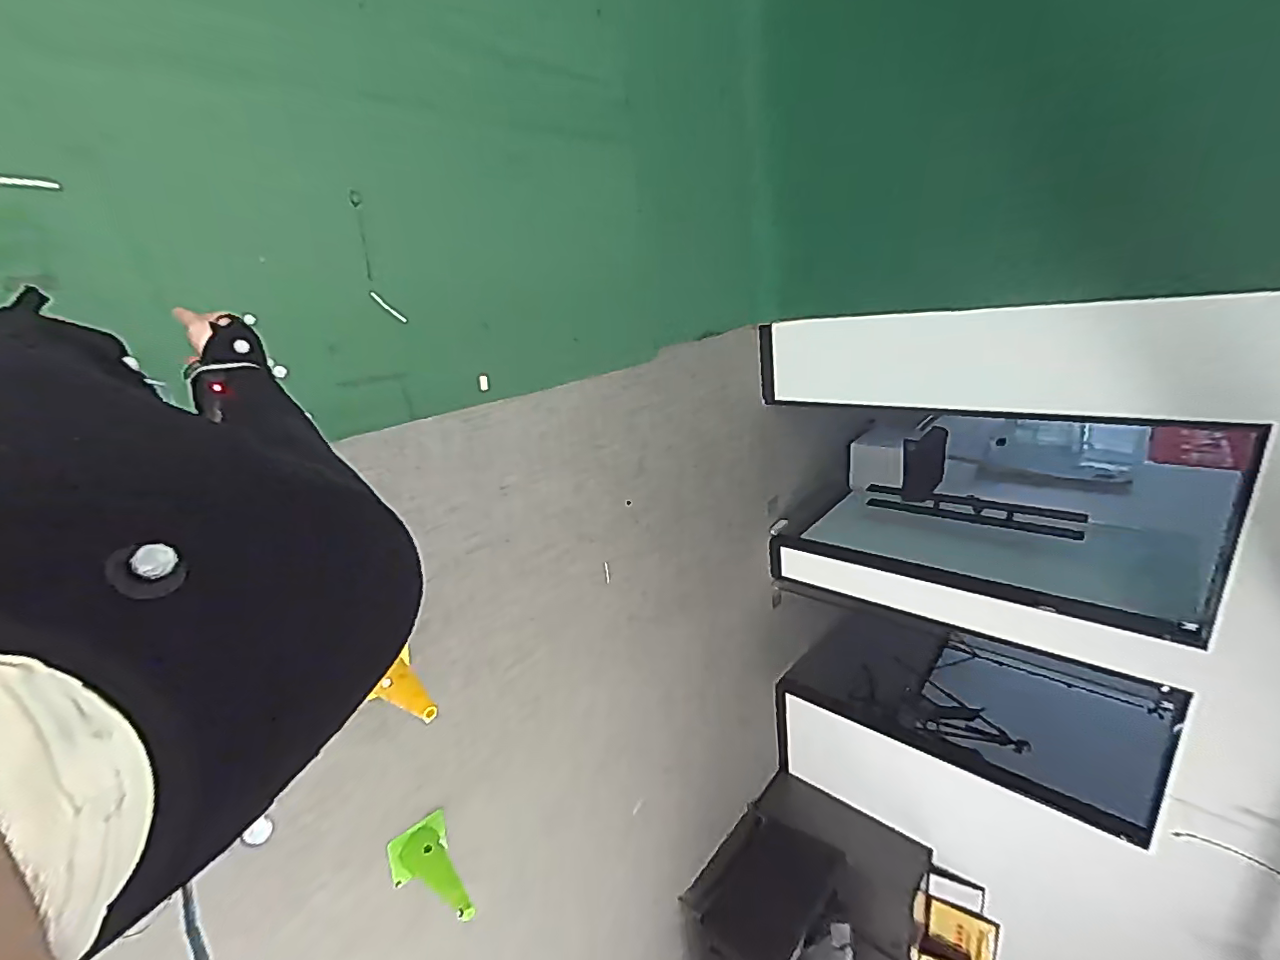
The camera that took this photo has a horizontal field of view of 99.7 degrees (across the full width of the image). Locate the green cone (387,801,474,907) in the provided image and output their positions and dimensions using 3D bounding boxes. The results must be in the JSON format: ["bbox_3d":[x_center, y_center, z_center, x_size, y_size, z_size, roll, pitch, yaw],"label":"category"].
[{"bbox_3d":[-0.671,1.314,1.834,0.200,0.368,0.202,-19,111,-45],"label":"green cone"}]
